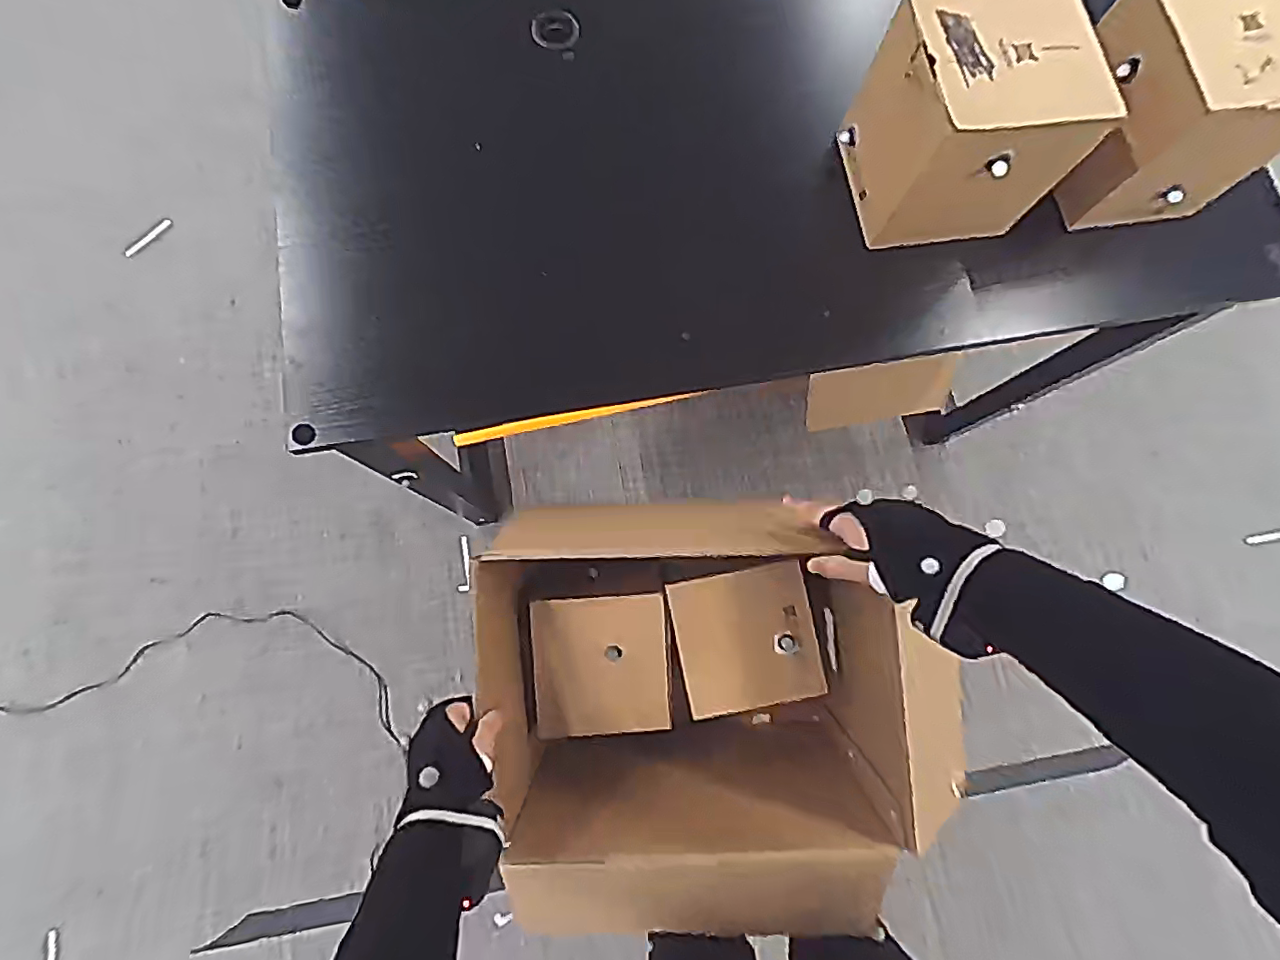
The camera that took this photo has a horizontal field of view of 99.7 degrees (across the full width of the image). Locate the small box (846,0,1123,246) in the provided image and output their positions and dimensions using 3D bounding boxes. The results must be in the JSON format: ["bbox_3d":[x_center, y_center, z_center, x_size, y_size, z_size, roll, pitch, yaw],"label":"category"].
[{"bbox_3d":[0.342,-0.376,0.583,0.179,0.176,0.168,-8,78,-5],"label":"small box"}]

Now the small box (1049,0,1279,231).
[{"bbox_3d":[0.585,-0.412,0.601,0.168,0.176,0.179,-8,78,-4],"label":"small box"}]
